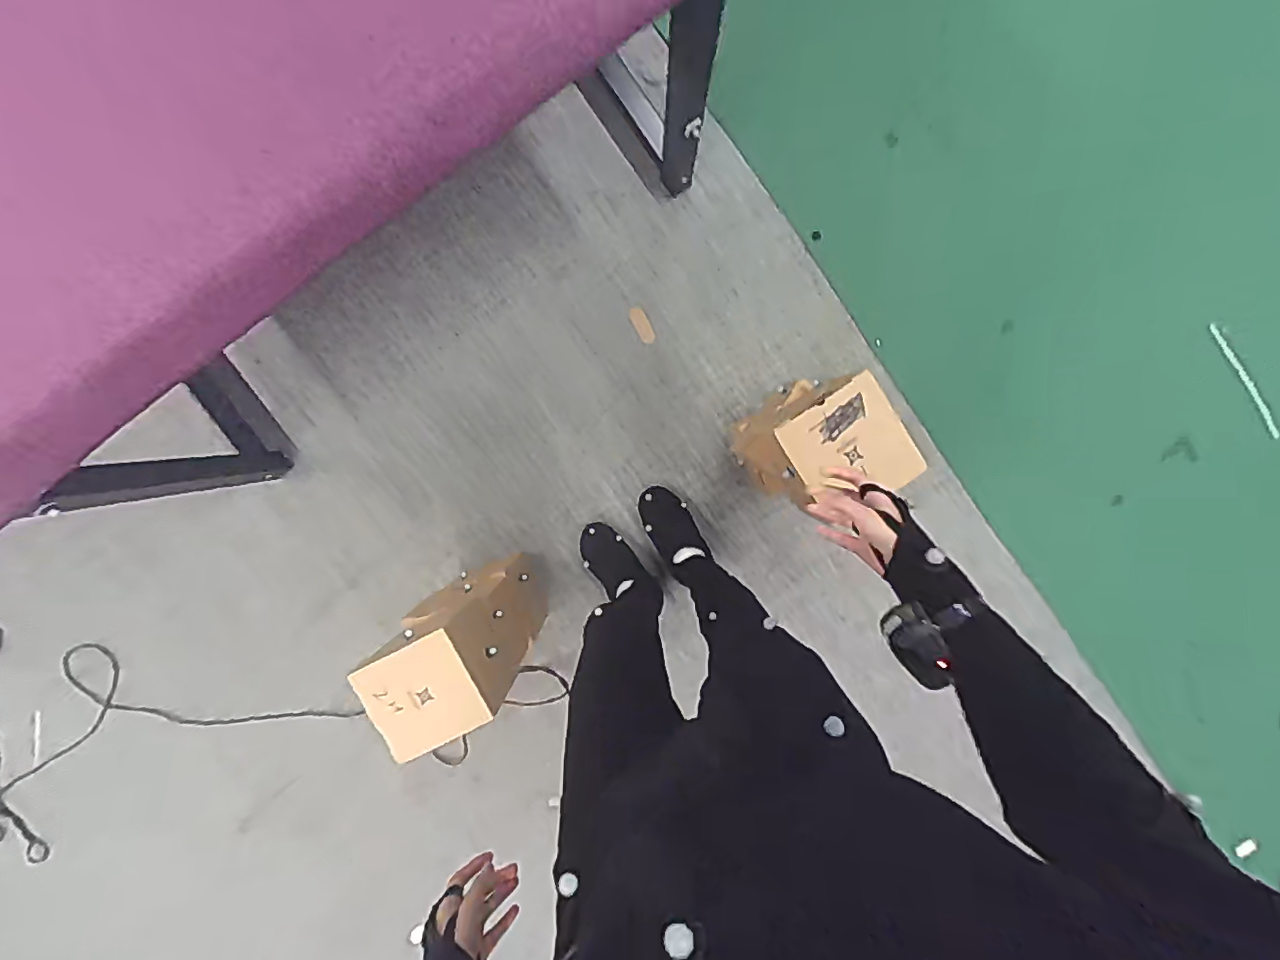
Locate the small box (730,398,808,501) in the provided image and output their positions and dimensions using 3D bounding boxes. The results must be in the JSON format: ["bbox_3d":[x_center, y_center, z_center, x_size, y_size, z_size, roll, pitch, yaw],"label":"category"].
[{"bbox_3d":[0.311,-0.069,1.195,0.179,0.176,0.168,-24,95,3],"label":"small box"}]

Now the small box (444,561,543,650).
[{"bbox_3d":[-0.335,0.296,1.231,0.168,0.176,0.179,-19,96,2],"label":"small box"}]

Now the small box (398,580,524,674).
[{"bbox_3d":[-0.342,0.317,1.071,0.168,0.176,0.179,-14,94,3],"label":"small box"}]

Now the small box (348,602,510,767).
[{"bbox_3d":[-0.335,0.328,0.906,0.179,0.176,0.168,-26,93,4],"label":"small box"}]

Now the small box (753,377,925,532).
[{"bbox_3d":[0.304,-0.043,0.867,0.168,0.176,0.179,-33,96,3],"label":"small box"}]
